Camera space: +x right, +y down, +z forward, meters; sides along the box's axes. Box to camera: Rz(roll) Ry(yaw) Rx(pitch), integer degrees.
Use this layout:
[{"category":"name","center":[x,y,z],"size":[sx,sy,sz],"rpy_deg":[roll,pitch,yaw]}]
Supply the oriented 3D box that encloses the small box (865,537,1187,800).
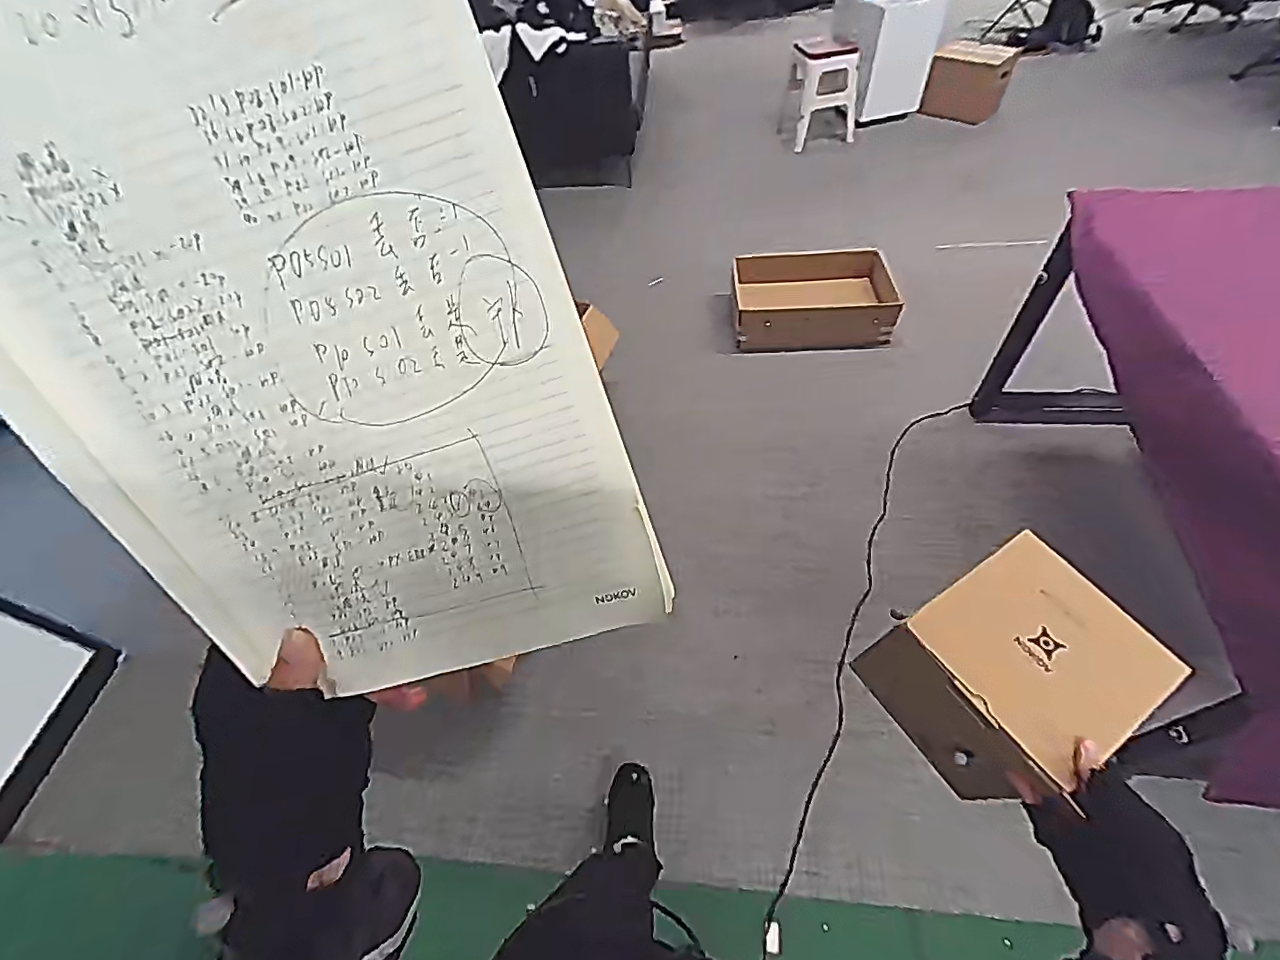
[{"category":"small box","center":[0.354,0.194,0.542],"size":[0.179,0.176,0.168],"rpy_deg":[-28,61,-16]}]
